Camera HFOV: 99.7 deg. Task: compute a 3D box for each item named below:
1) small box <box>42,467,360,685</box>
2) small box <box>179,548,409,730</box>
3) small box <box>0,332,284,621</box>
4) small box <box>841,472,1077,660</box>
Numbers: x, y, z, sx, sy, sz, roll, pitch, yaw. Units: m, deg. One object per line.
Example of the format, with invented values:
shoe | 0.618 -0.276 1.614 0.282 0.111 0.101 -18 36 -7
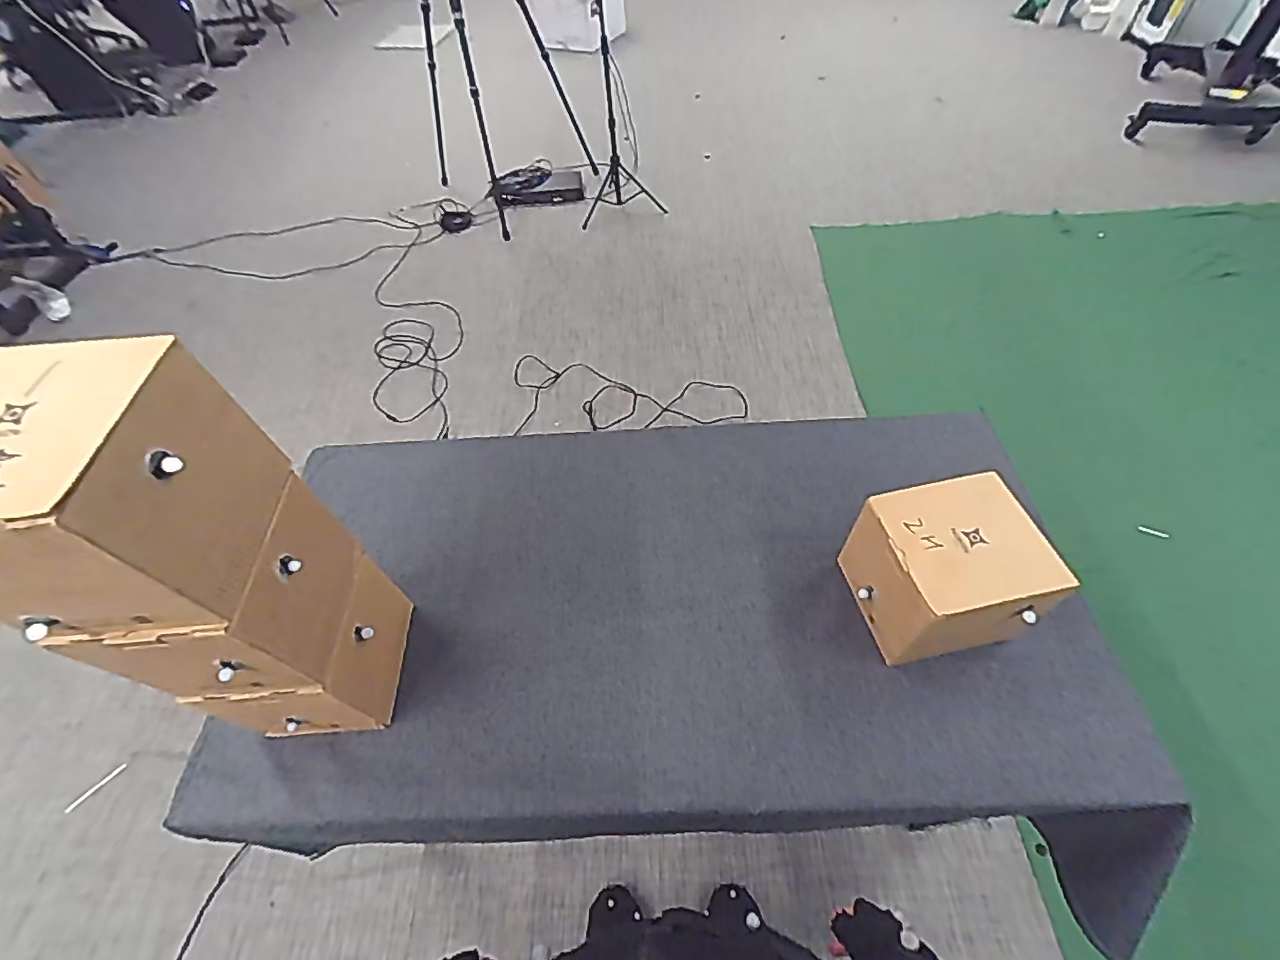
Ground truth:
small box | -0.427 0.109 0.570 0.168 0.176 0.179 -3 54 0
small box | -0.420 0.208 0.698 0.168 0.176 0.179 -4 54 1
small box | -0.435 0.006 0.442 0.168 0.176 0.179 -4 53 -1
small box | 0.390 0.115 0.702 0.179 0.176 0.168 -11 53 -3
